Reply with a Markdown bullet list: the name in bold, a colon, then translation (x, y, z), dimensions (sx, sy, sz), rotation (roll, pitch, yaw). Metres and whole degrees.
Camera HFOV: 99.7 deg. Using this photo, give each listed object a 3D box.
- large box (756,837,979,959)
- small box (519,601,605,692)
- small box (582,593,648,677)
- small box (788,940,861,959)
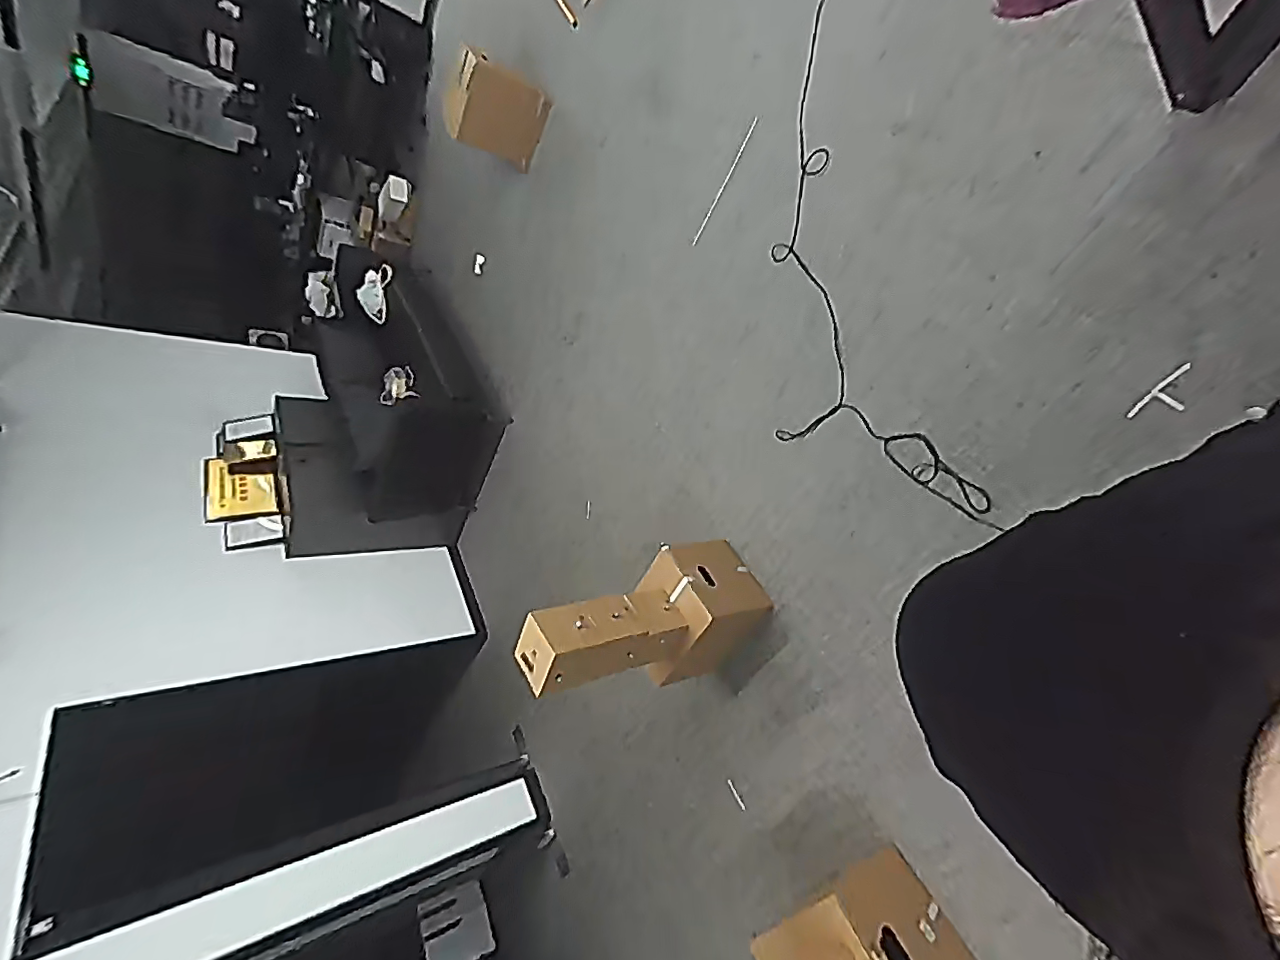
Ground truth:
- **large box**: translation (0.602, 1.263, 1.463), dimensions (0.320, 0.320, 0.408), rotation (55, 130, 35)
- **small box**: translation (-0.226, 0.478, 1.575), dimensions (0.168, 0.176, 0.179), rotation (44, 123, 39)
- **small box**: translation (-0.099, 0.475, 1.681), dimensions (0.168, 0.176, 0.179), rotation (46, 123, 39)
- **small box**: translation (0.438, 1.231, 1.276), dimensions (0.179, 0.176, 0.168), rotation (-49, 56, 38)
